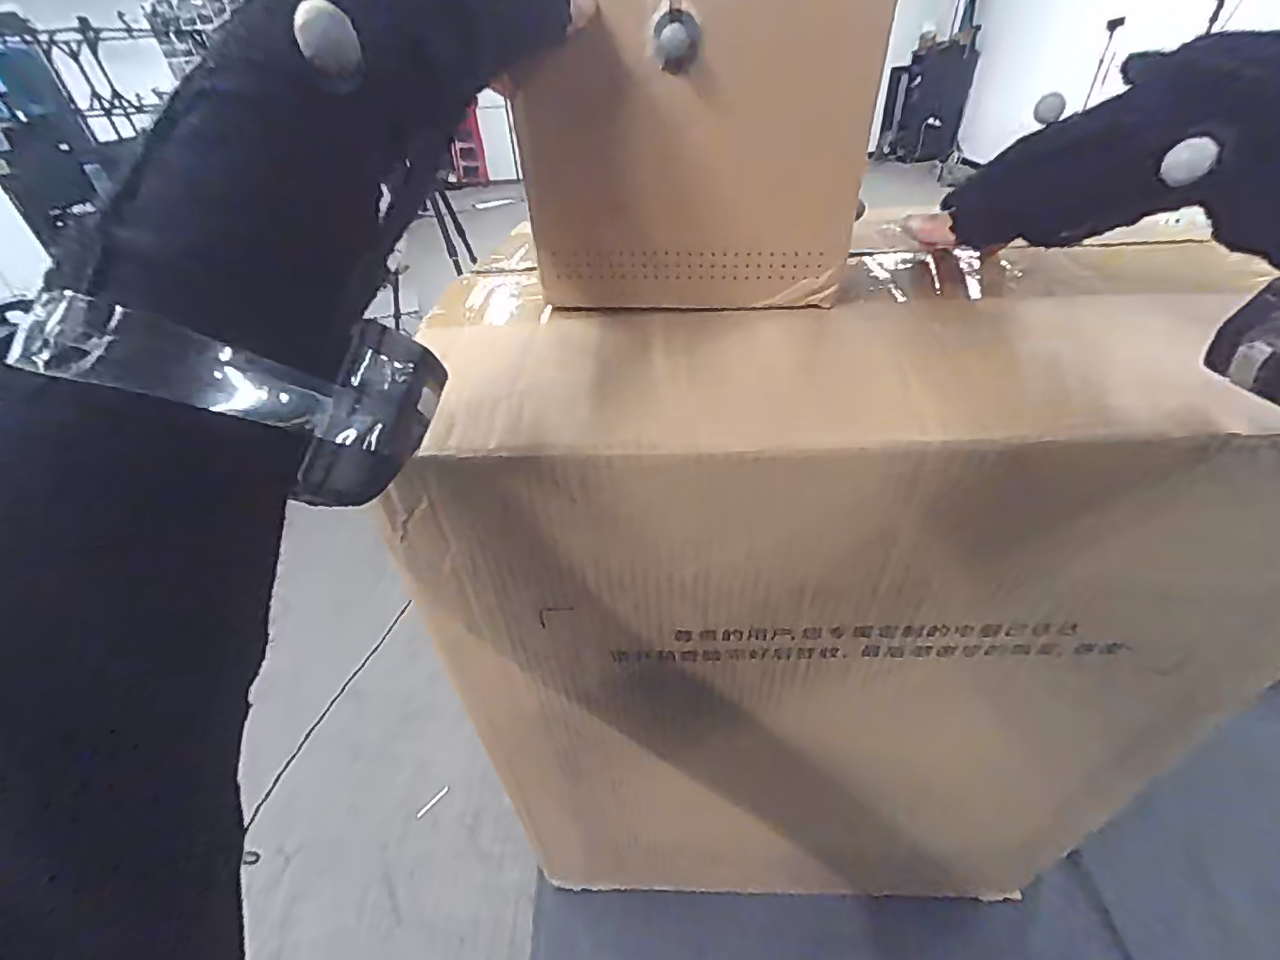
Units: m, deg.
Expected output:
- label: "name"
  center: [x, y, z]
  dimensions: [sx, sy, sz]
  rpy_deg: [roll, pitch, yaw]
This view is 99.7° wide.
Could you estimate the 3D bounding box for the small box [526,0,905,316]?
- label: "small box"
  center: [0.044, -0.213, 0.334]
  dimensions: [0.179, 0.176, 0.168]
  rpy_deg: [4, 42, 7]
